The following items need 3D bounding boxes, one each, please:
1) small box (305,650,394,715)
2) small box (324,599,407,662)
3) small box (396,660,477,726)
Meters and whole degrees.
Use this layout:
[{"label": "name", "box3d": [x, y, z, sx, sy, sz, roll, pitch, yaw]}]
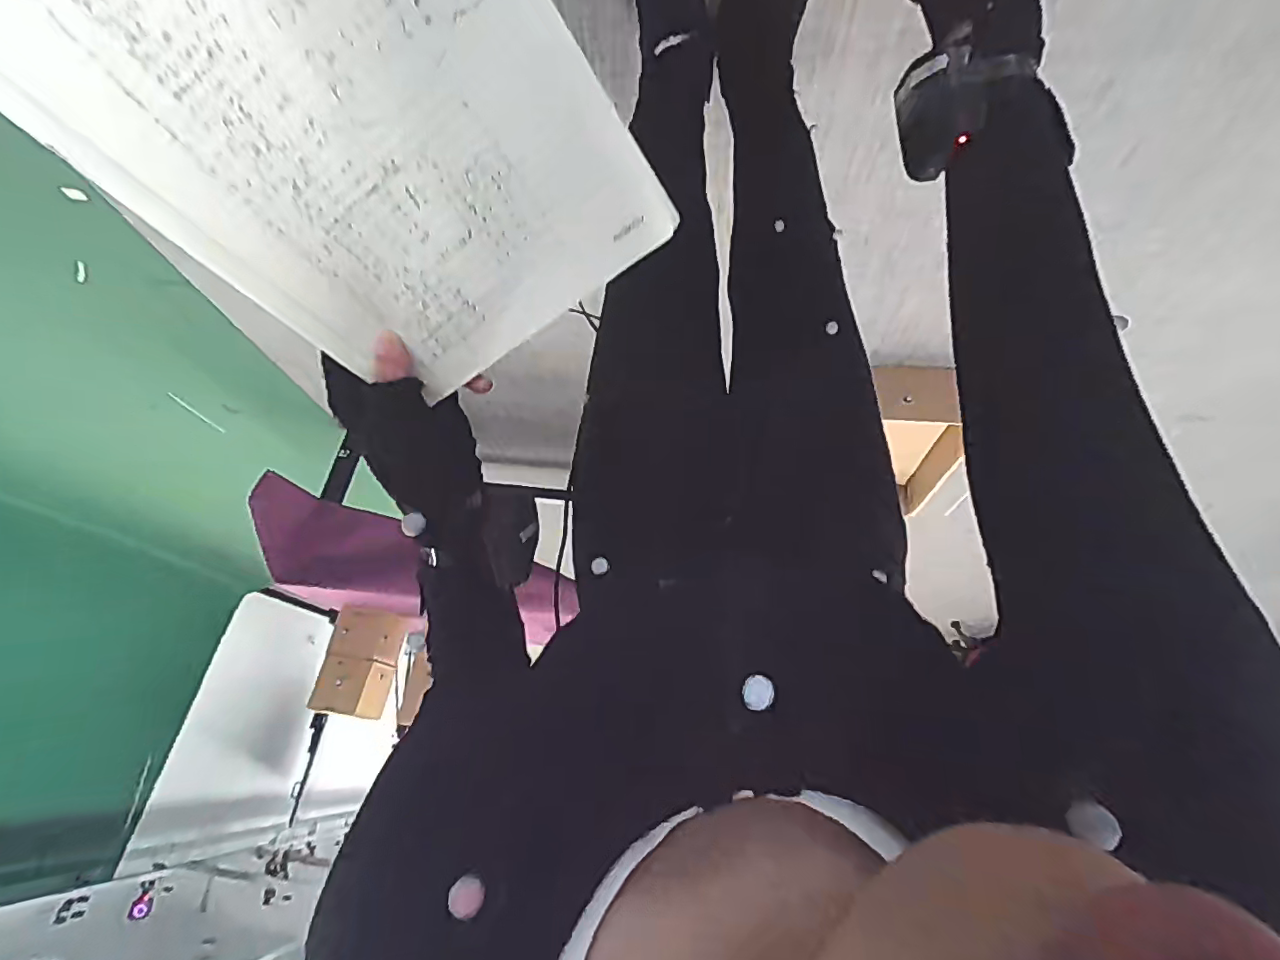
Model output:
[{"label": "small box", "box3d": [-0.934, 0.656, 1.755, 0.168, 0.176, 0.179, 6, 153, 6]}, {"label": "small box", "box3d": [-0.920, 0.509, 1.828, 0.168, 0.176, 0.179, 5, 155, 5]}, {"label": "small box", "box3d": [-0.628, 0.667, 1.694, 0.168, 0.176, 0.179, 5, 155, 5]}]
